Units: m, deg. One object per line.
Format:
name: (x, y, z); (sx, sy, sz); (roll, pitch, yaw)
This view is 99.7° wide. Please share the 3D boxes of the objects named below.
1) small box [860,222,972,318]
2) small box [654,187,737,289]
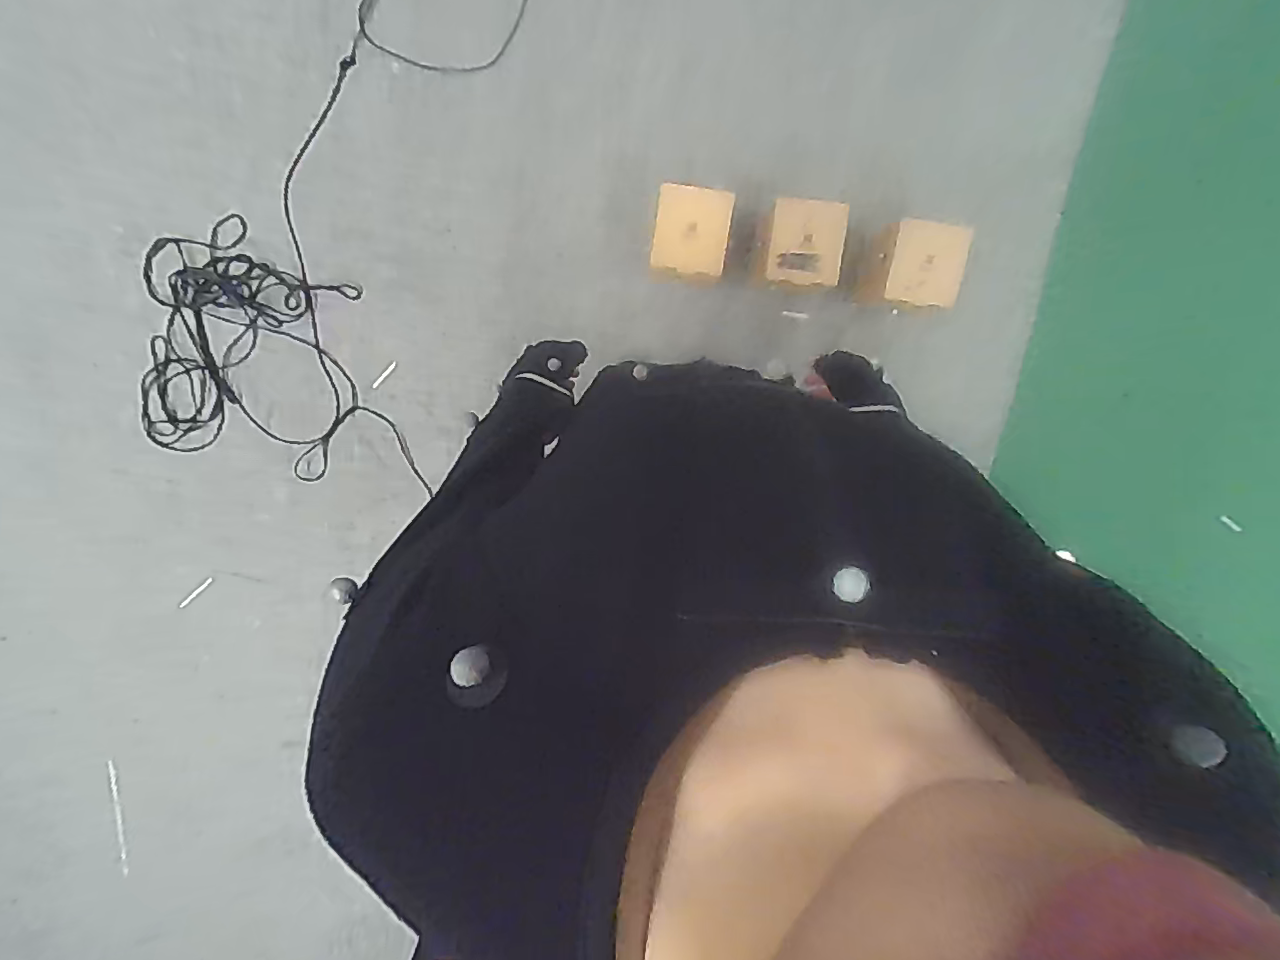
small box: (0.650, -0.495, 1.296); (0.168, 0.176, 0.179); (8, 103, 0)
small box: (0.124, -0.569, 1.291); (0.168, 0.176, 0.179); (9, 103, 0)
